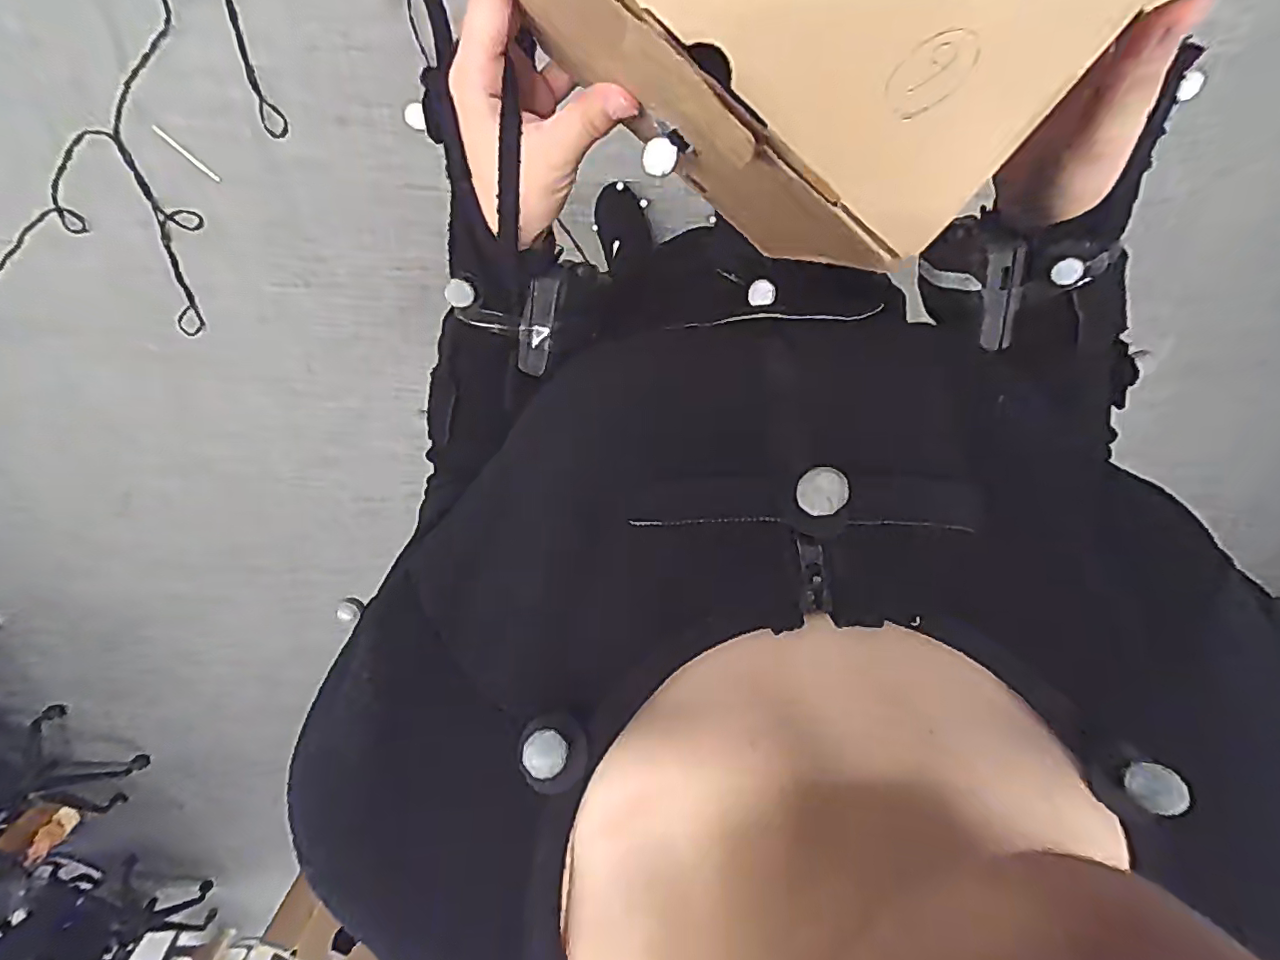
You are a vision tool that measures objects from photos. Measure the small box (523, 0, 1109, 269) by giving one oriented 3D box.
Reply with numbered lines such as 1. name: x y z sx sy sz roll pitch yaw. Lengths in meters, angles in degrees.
1. small box: 0.063 -0.209 0.206 0.168 0.176 0.179 35 110 -16
